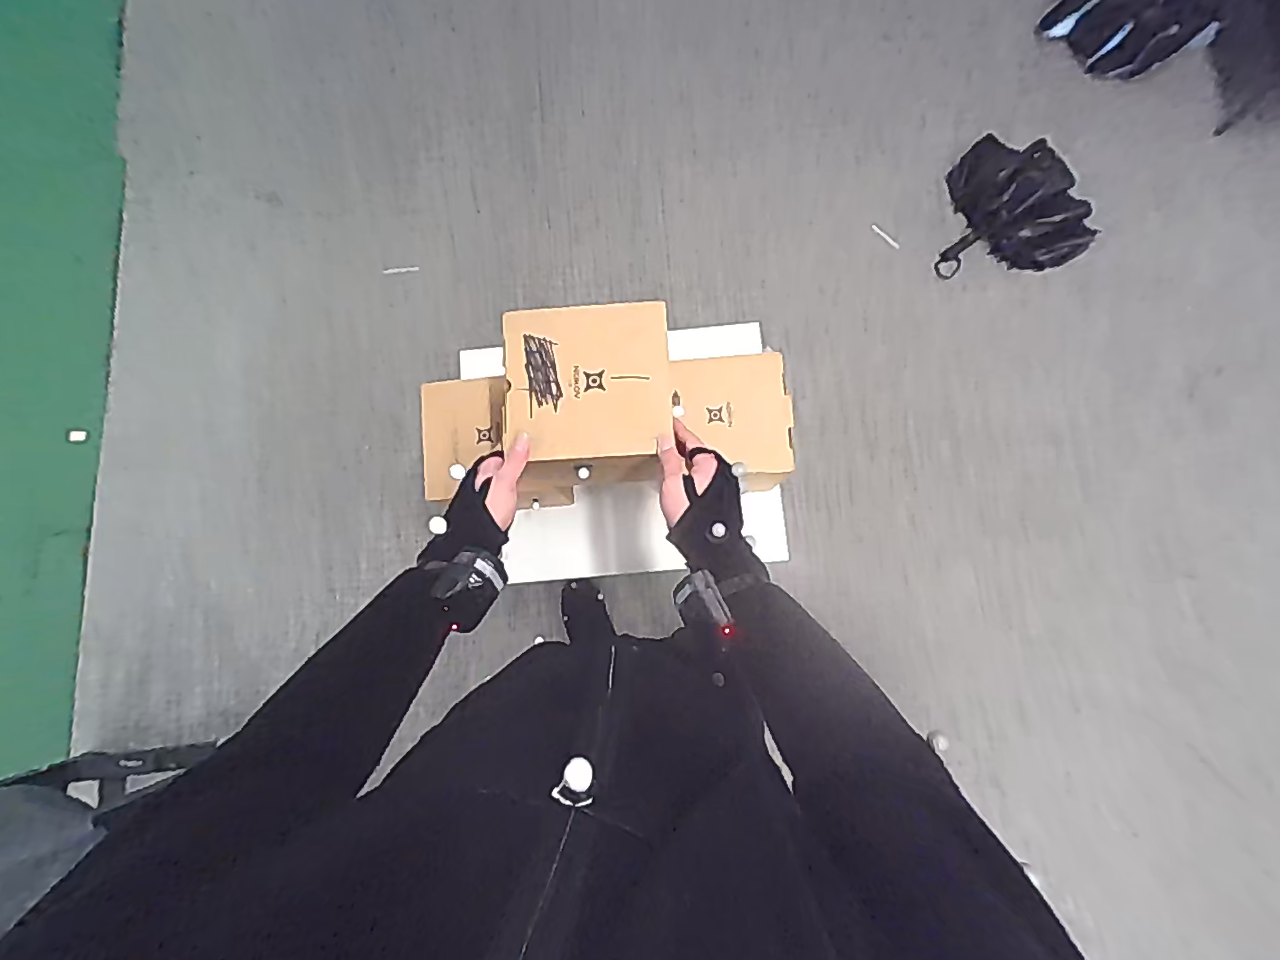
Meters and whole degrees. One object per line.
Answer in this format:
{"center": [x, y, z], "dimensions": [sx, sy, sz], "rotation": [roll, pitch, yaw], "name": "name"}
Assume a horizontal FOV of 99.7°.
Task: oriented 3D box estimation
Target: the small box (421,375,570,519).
{"center": [-0.197, -0.041, 0.780], "dimensions": [0.179, 0.176, 0.168], "rotation": [-6, 78, -2], "name": "small box"}

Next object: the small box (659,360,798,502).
{"center": [0.115, -0.063, 0.787], "dimensions": [0.179, 0.176, 0.168], "rotation": [-3, 79, 0], "name": "small box"}

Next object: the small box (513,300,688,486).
{"center": [-0.041, -0.088, 0.624], "dimensions": [0.179, 0.176, 0.168], "rotation": [-2, 80, -1], "name": "small box"}
